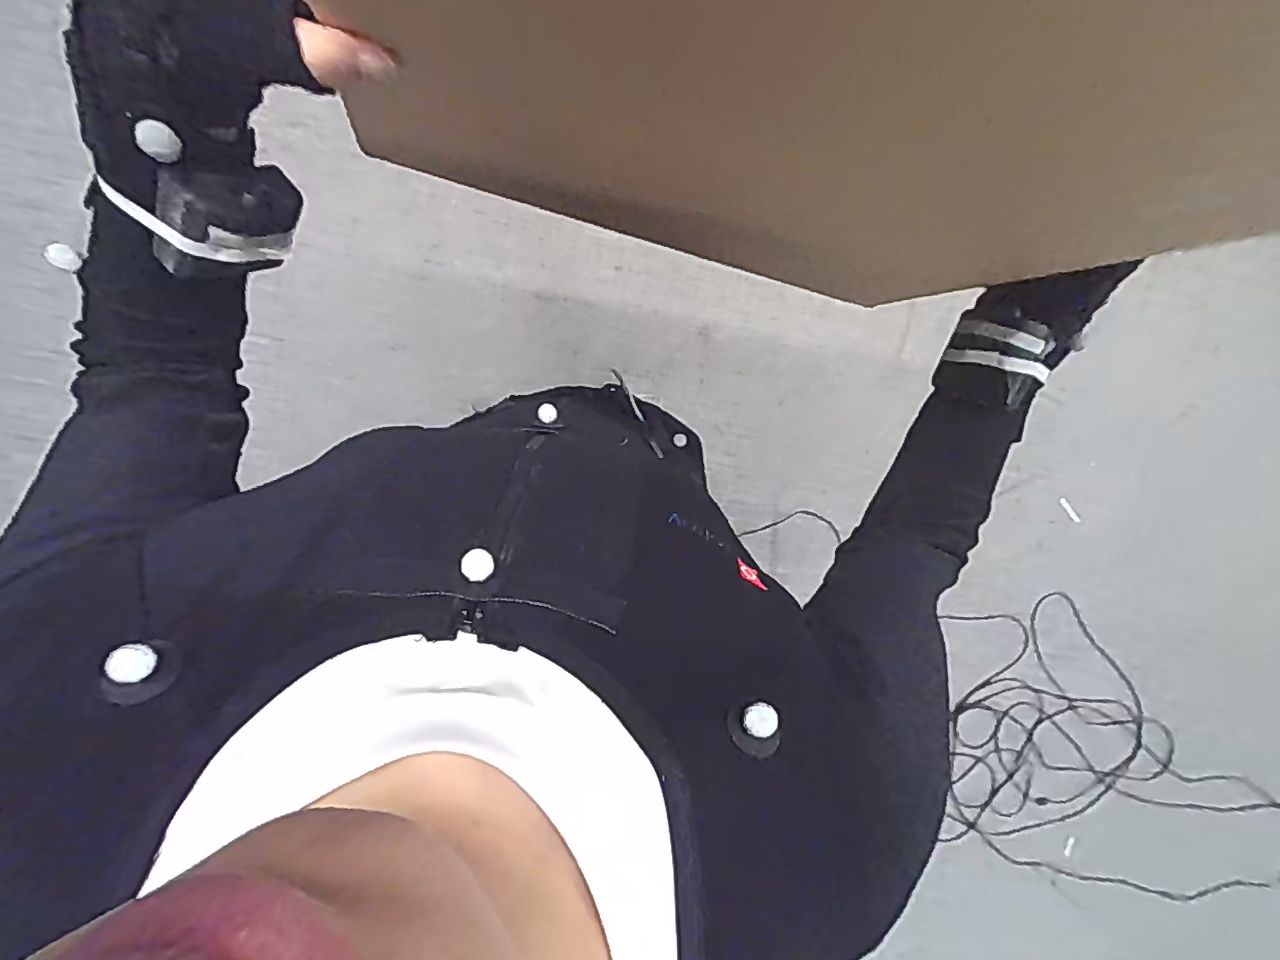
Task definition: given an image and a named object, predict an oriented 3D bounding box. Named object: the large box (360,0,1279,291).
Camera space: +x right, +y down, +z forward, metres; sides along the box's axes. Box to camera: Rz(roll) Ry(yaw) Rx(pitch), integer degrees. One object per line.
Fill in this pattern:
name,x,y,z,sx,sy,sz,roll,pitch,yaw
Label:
large box,0.102,-0.306,0.247,0.408,0.320,0.320,7,99,-23
